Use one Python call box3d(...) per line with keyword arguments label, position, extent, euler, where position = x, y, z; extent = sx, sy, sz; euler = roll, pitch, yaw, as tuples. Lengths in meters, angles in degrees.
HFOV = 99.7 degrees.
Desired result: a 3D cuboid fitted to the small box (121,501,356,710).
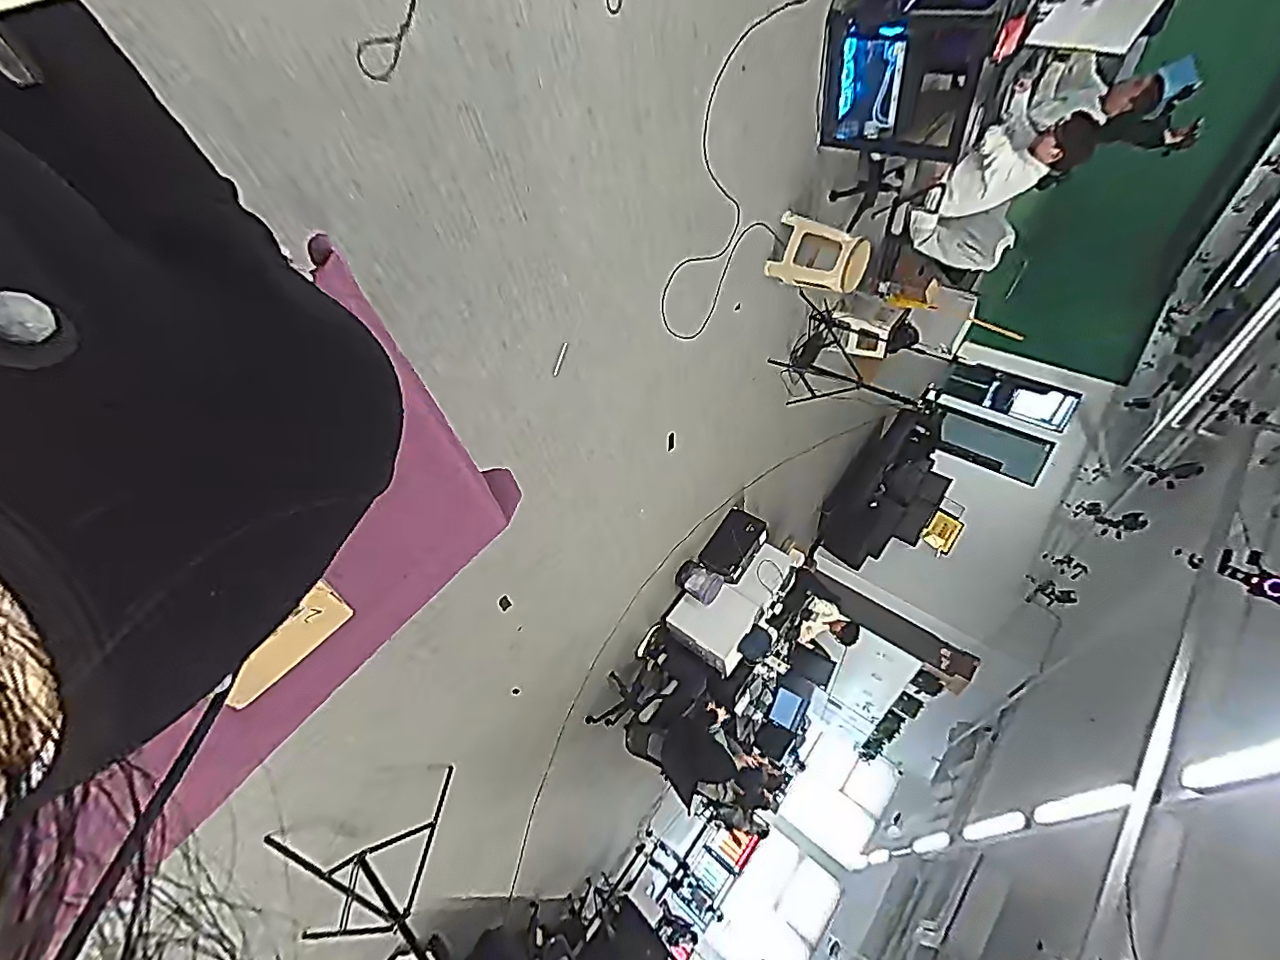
box3d(label="small box", position=(-0.535, 0.162, 0.724), extent=(0.179, 0.176, 0.168), euler=(-45, 148, -26))
